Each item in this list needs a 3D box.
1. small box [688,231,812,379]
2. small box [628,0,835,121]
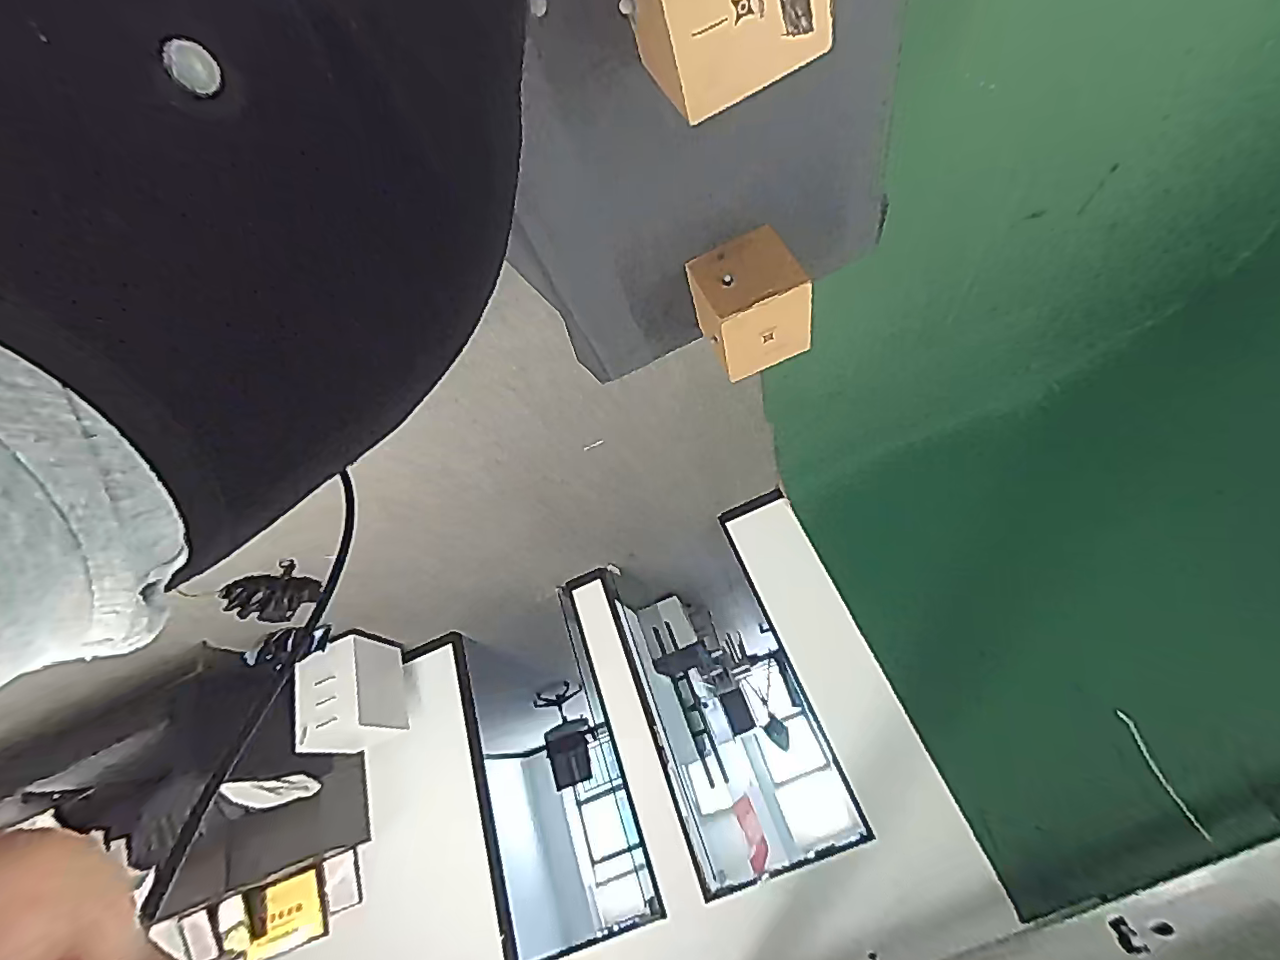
[{"bbox_3d":[0.201,-0.327,0.998,0.168,0.176,0.179,-23,152,5],"label":"small box"},{"bbox_3d":[0.085,-0.535,0.566,0.179,0.176,0.168,-24,151,7],"label":"small box"}]
